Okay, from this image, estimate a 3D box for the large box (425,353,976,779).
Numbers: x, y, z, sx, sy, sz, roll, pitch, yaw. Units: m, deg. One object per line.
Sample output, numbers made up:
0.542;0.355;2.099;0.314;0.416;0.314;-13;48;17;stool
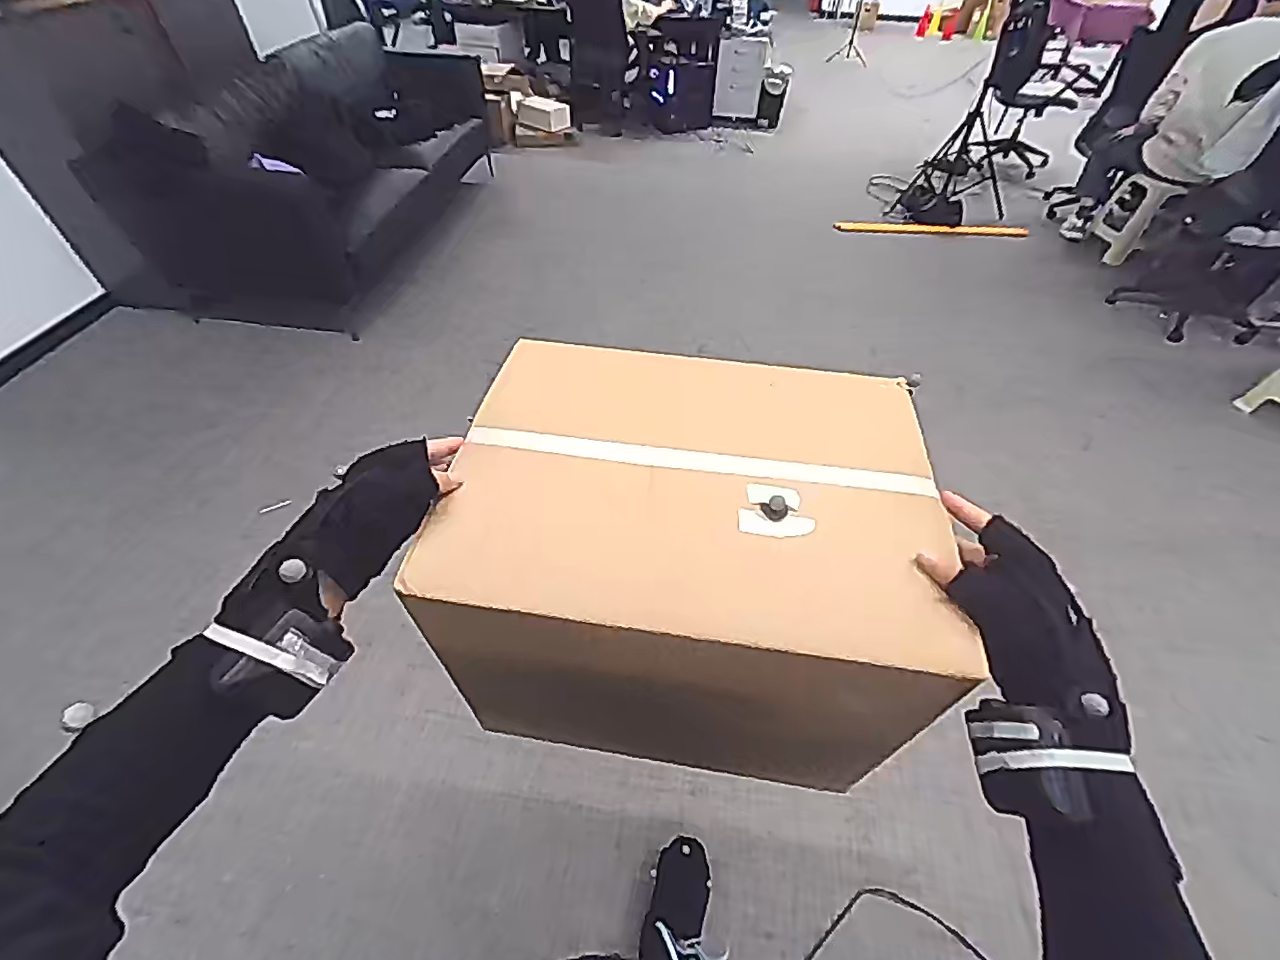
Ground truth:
0.049;0.094;0.590;0.408;0.320;0.320;8;49;4;large box
